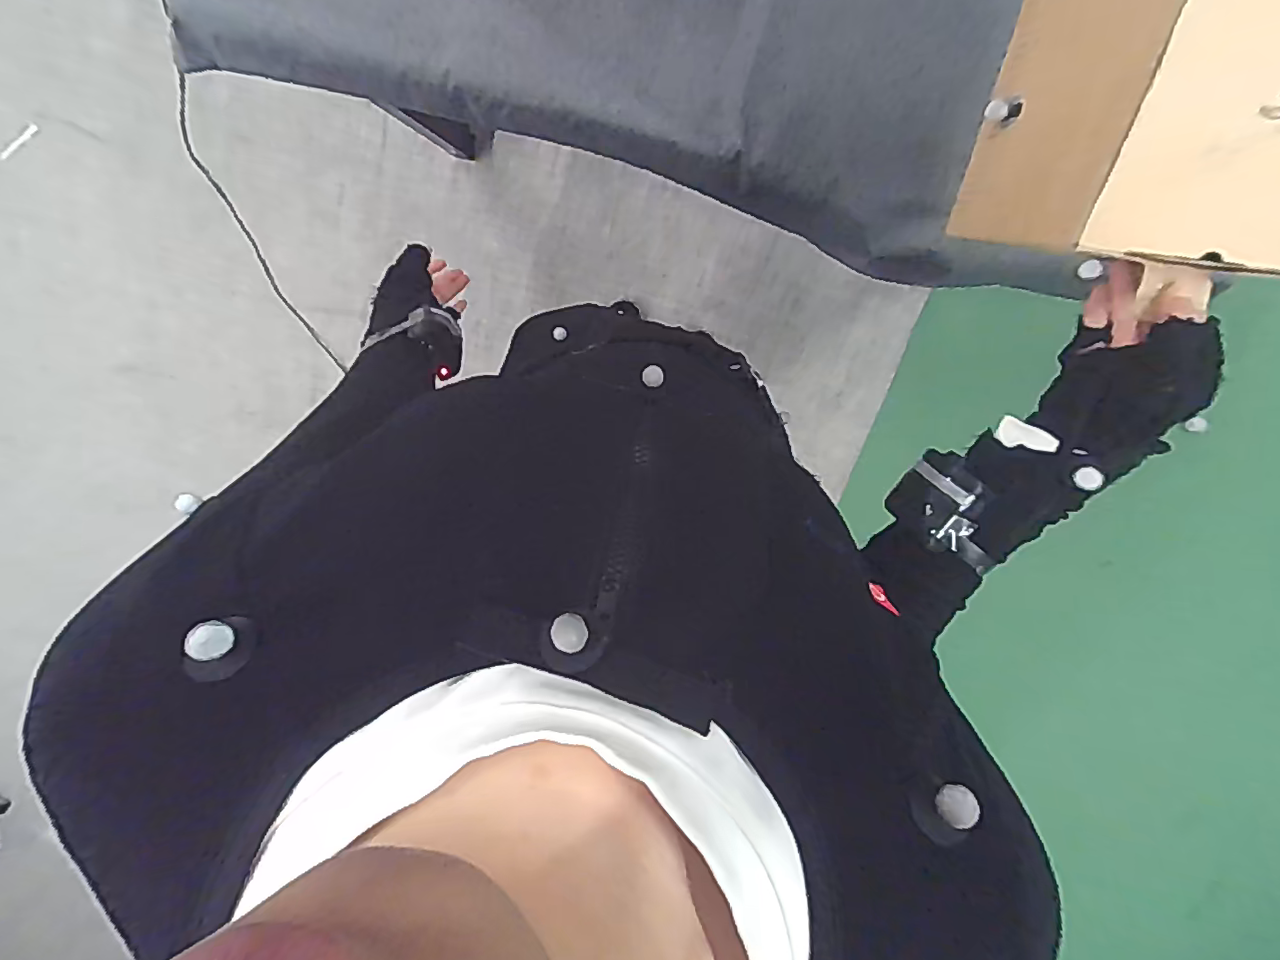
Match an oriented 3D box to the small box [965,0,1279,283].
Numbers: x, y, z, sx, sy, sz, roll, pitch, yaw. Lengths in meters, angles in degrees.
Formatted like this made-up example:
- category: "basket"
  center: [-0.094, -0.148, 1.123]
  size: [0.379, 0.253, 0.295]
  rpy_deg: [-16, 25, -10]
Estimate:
- category: "small box"
  center: [0.354, -0.240, 0.357]
  size: [0.168, 0.176, 0.179]
  rpy_deg: [6, 117, -1]
